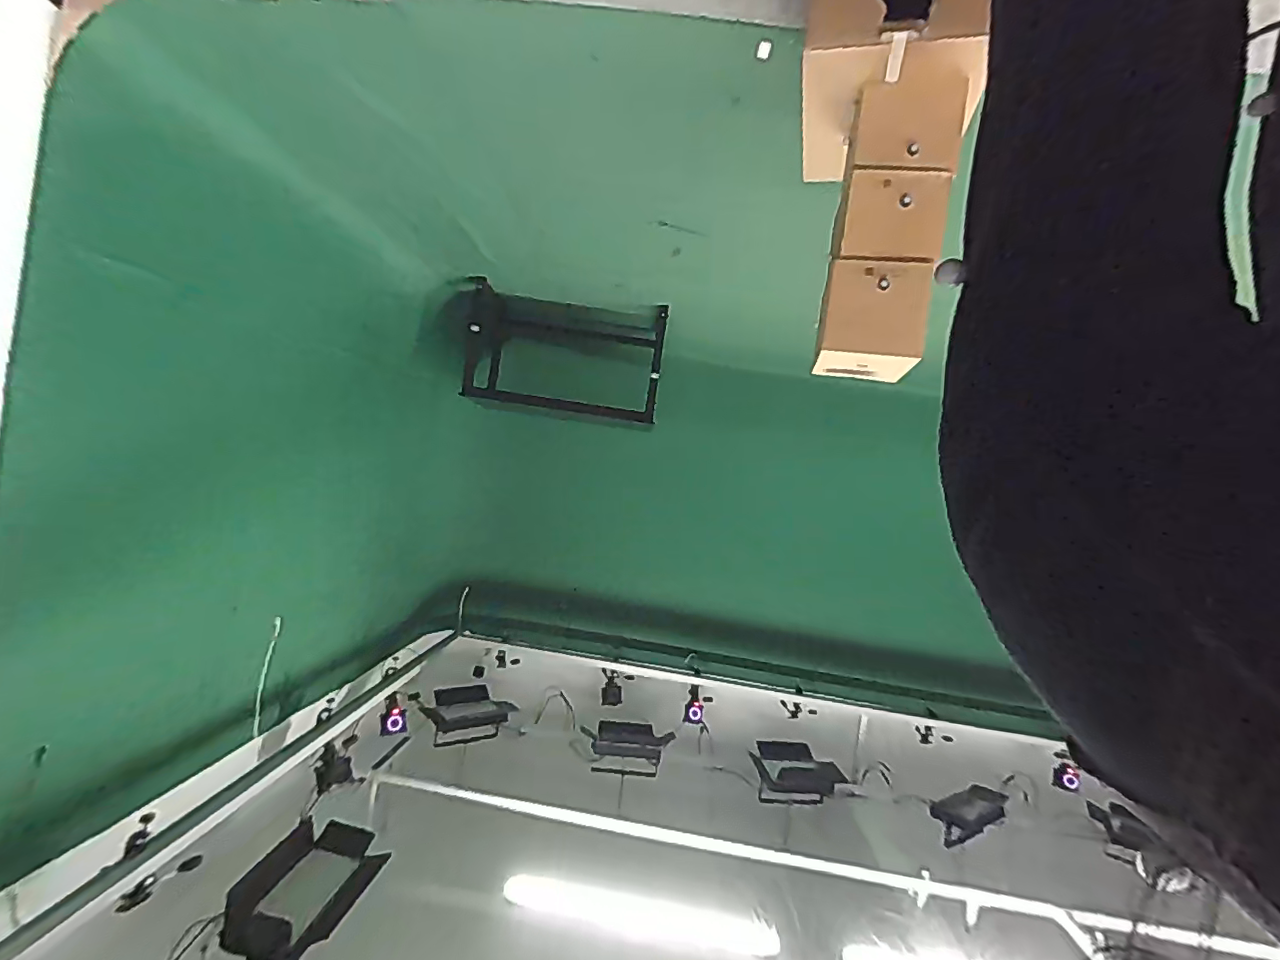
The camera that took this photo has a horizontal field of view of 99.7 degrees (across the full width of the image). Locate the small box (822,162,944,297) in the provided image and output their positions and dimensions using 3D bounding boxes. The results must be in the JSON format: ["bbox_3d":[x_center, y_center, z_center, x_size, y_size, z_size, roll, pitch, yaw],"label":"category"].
[{"bbox_3d":[0.449,-0.462,1.013,0.168,0.176,0.179,8,179,10],"label":"small box"}]

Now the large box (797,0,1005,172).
[{"bbox_3d":[0.491,-0.868,1.048,0.320,0.320,0.408,9,-178,17],"label":"large box"}]

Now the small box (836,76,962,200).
[{"bbox_3d":[0.479,-0.621,1.015,0.179,0.176,0.168,8,180,12],"label":"small box"}]
